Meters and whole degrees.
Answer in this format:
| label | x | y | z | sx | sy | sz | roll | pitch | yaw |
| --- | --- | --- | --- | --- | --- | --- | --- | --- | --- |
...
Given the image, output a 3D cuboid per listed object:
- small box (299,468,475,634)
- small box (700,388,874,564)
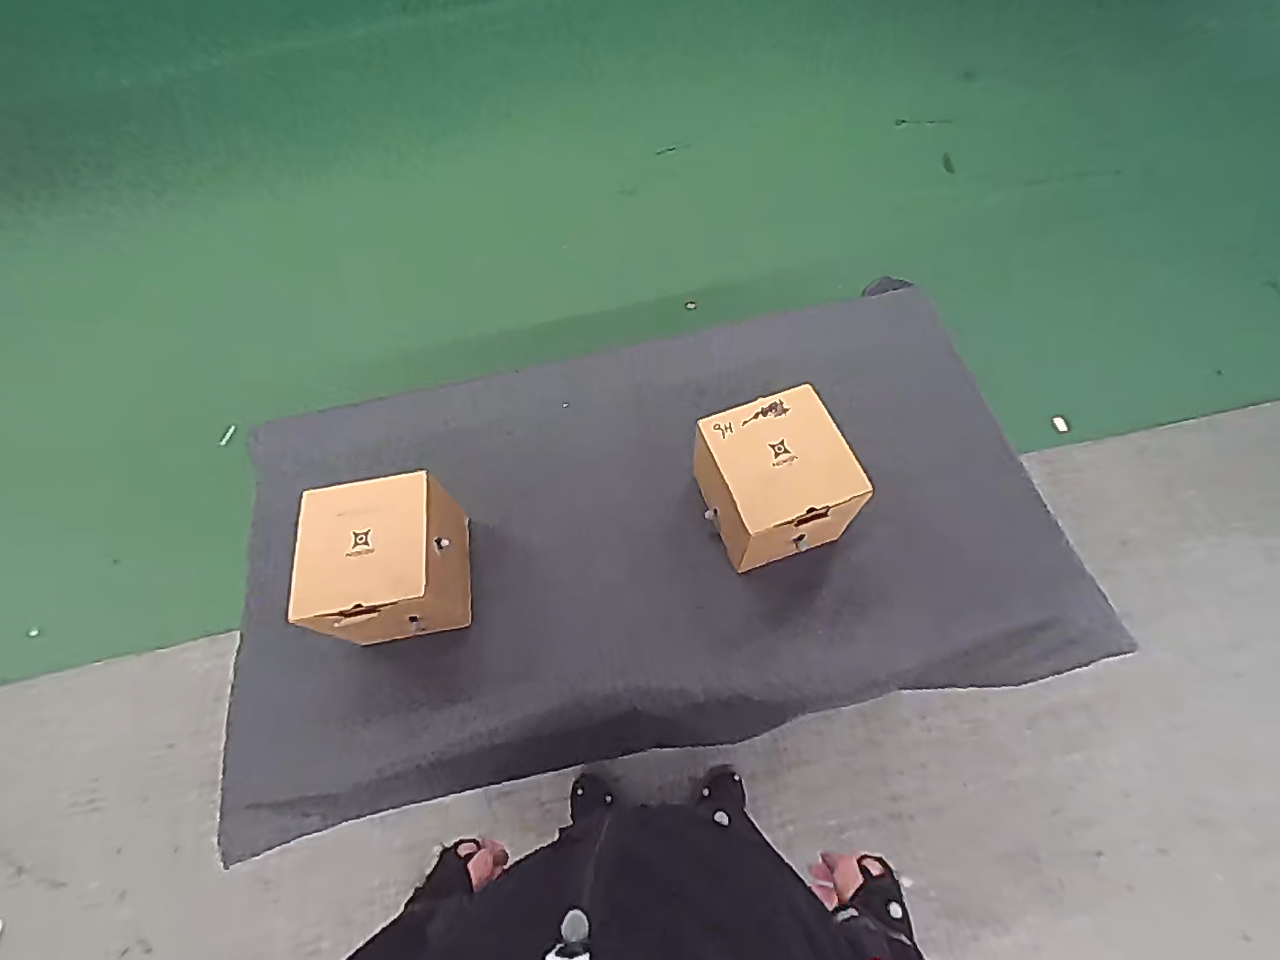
| label | x | y | z | sx | sy | sz | roll | pitch | yaw |
| --- | --- | --- | --- | --- | --- | --- | --- | --- | --- |
| small box | -0.335 | 0.108 | 0.754 | 0.168 | 0.176 | 0.179 | -9 | 63 | -2 |
| small box | 0.192 | 0.006 | 0.765 | 0.168 | 0.176 | 0.179 | -18 | 65 | -5 |
